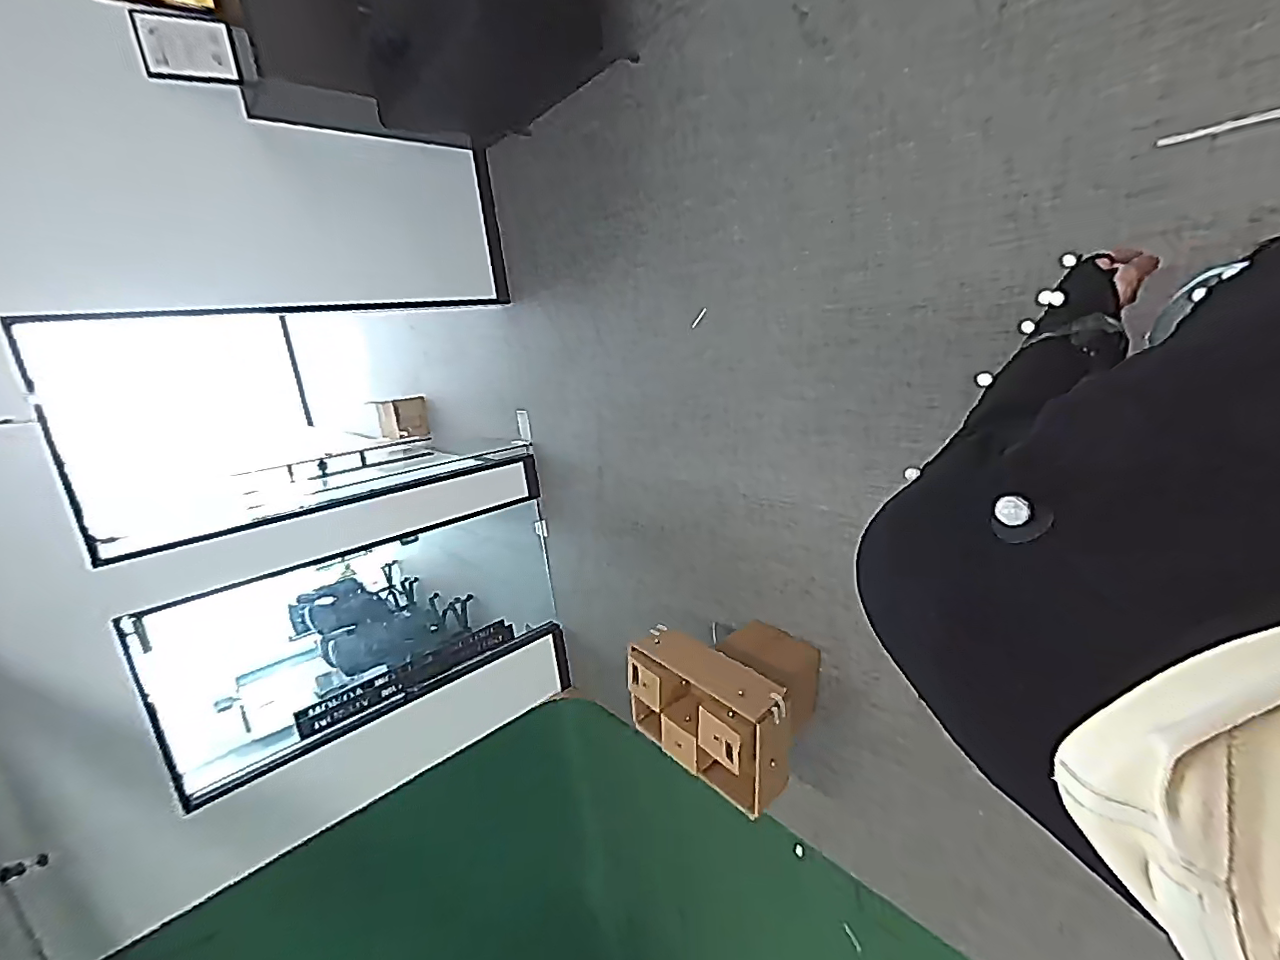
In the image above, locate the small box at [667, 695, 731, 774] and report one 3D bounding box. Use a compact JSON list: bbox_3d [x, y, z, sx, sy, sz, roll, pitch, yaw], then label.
[{"bbox_3d":[0.219,0.923,1.980,0.179,0.176,0.168,16,115,46],"label":"small box"}]
